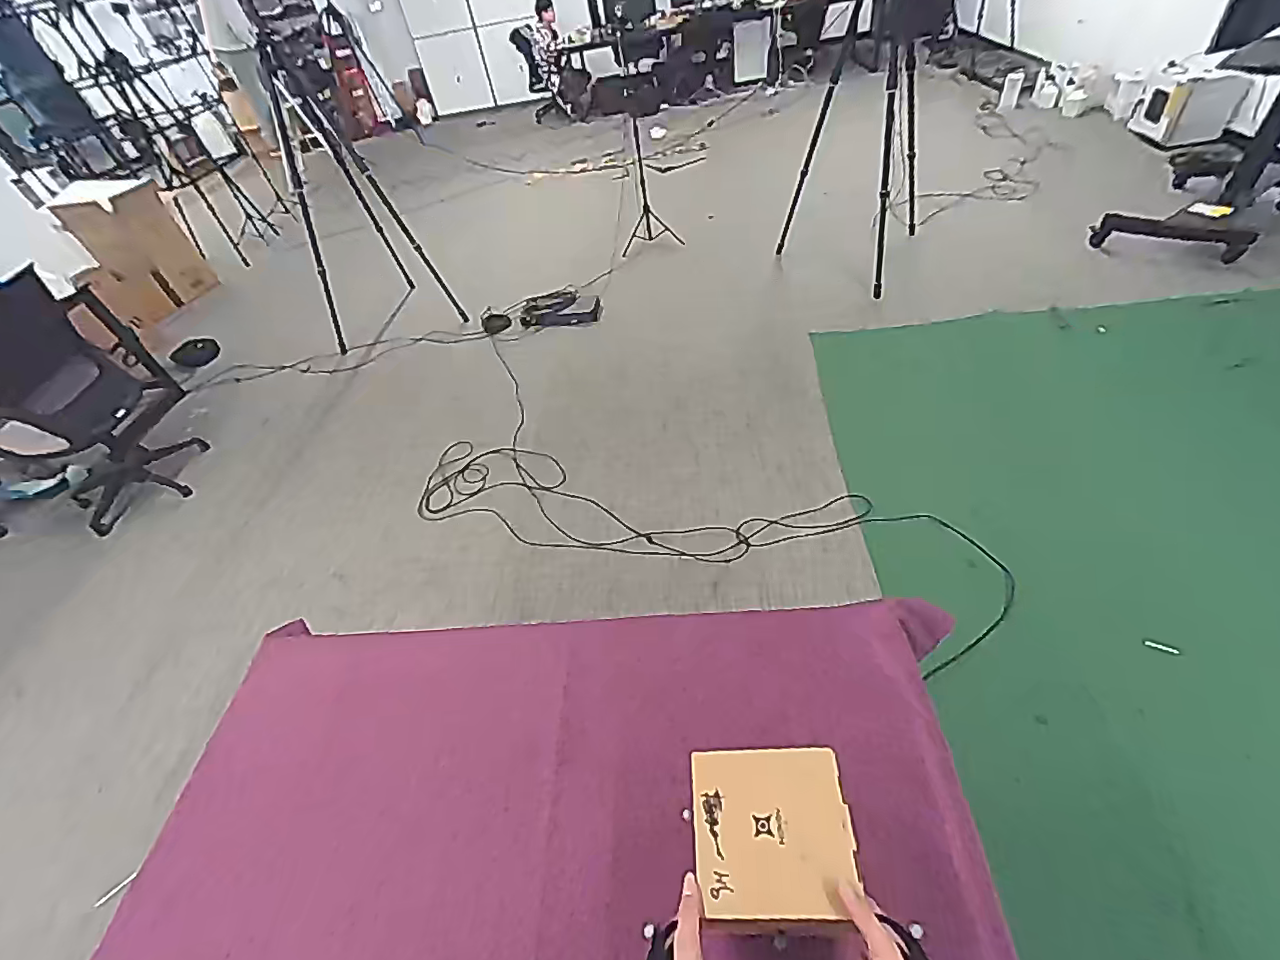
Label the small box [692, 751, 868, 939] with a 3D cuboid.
[{"bbox_3d":[0.156,0.446,0.662,0.179,0.176,0.168,-4,45,7],"label":"small box"}]
